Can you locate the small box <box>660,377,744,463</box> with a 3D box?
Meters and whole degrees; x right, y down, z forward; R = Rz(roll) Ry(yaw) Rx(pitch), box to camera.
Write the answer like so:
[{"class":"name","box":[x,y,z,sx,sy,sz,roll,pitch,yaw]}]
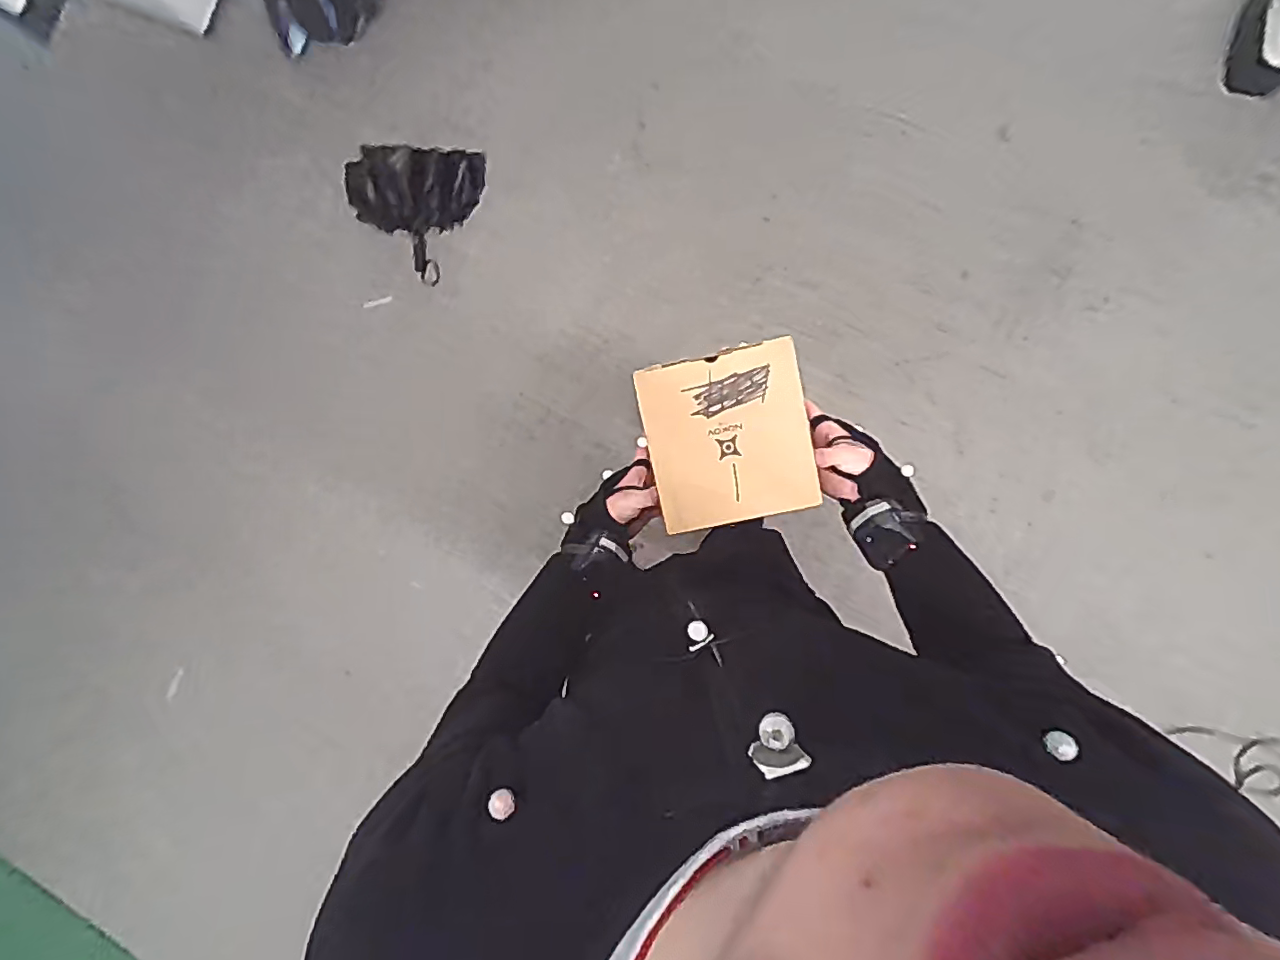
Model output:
[{"class":"small box","box":[0.168,-0.158,1.468,0.168,0.176,0.179,25,95,7]}]
